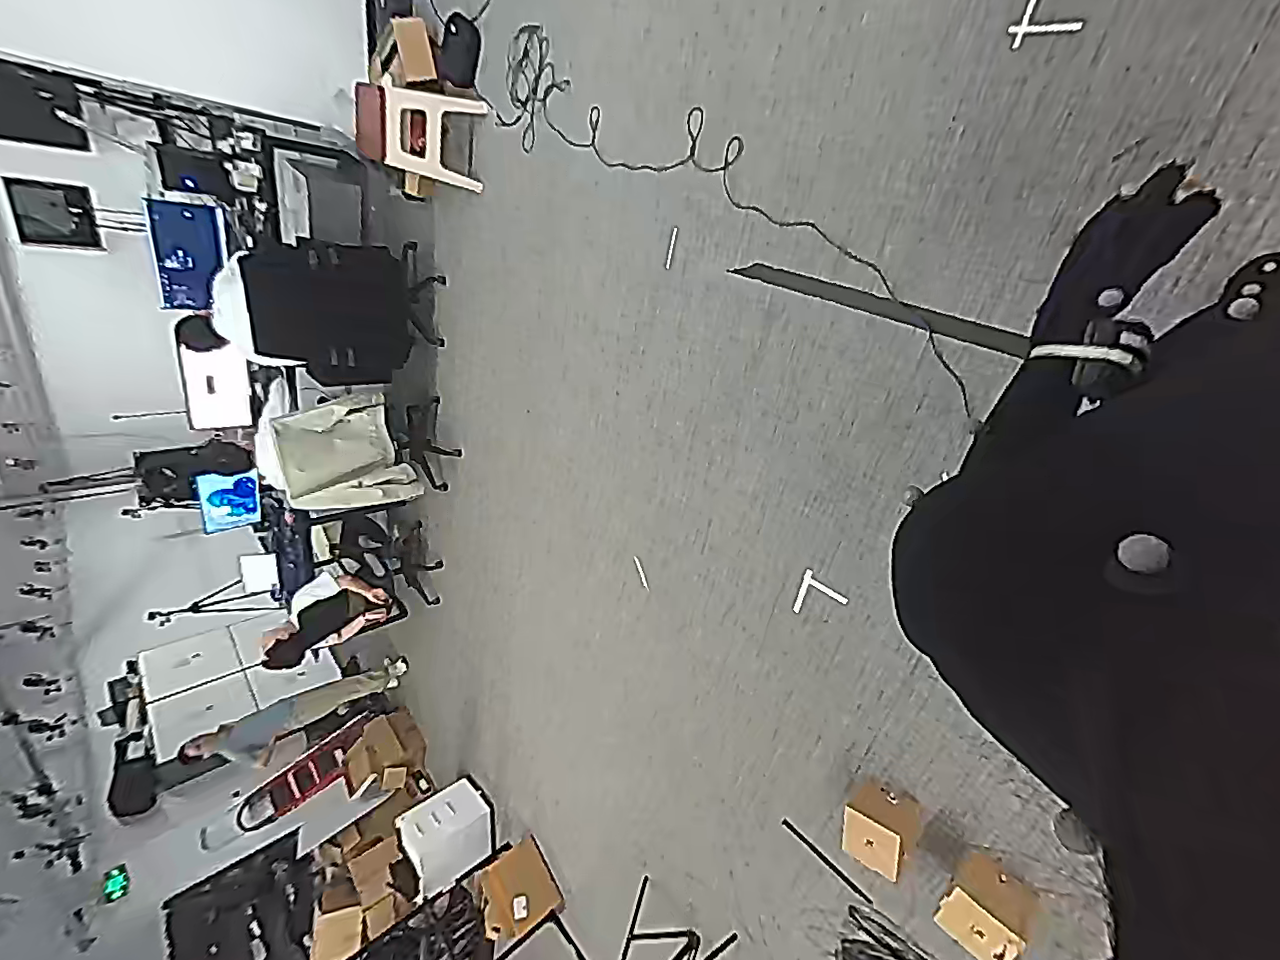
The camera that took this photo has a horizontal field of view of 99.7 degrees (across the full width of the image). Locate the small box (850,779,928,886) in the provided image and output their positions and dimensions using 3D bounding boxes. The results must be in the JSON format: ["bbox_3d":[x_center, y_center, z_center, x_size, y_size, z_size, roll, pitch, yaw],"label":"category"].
[{"bbox_3d":[0.764,1.071,1.657,0.168,0.176,0.179,11,108,44],"label":"small box"}]

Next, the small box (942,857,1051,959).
[{"bbox_3d":[0.968,1.174,1.466,0.179,0.176,0.168,32,123,37],"label":"small box"}]
